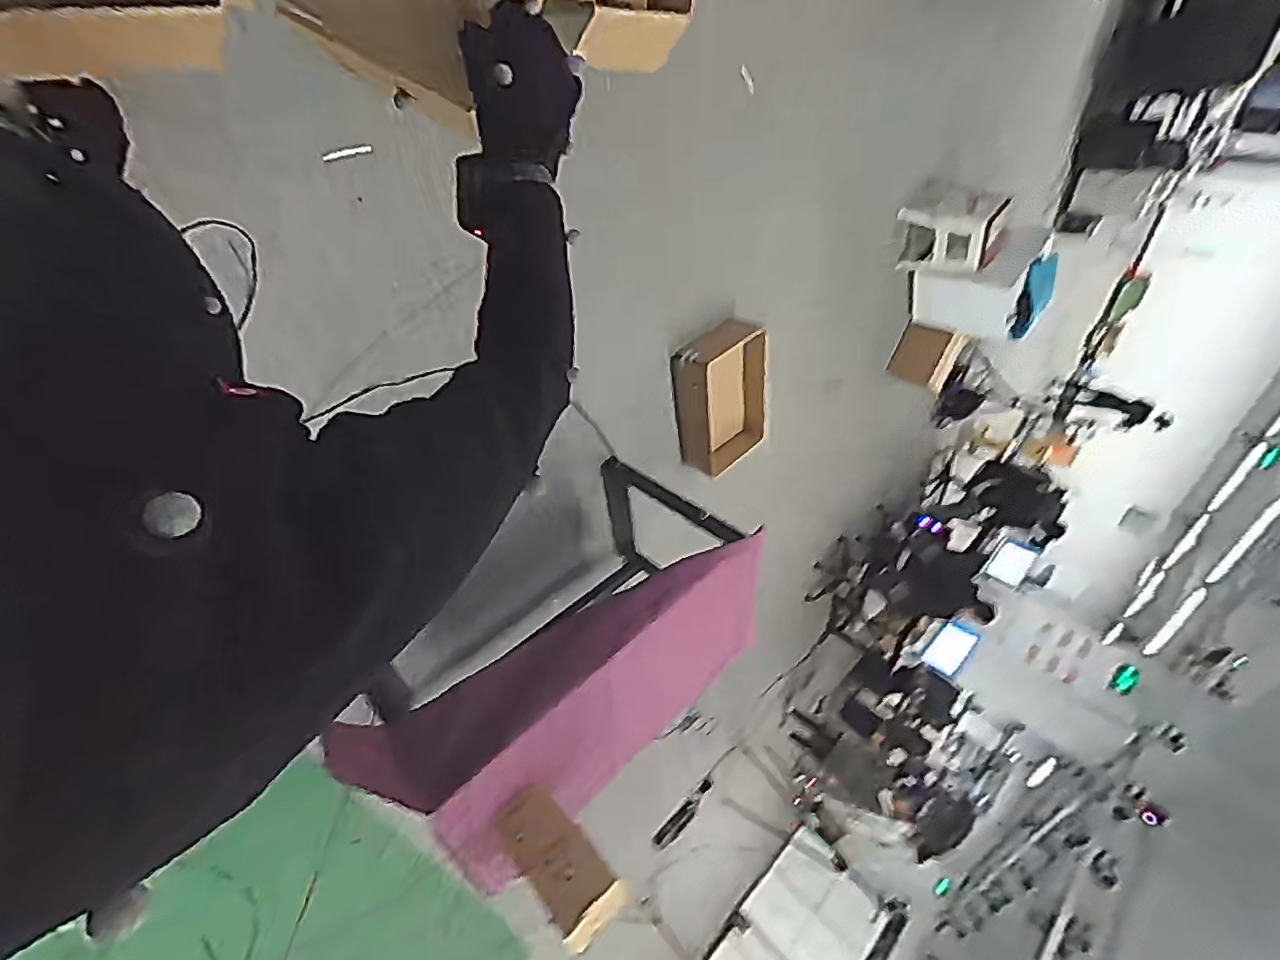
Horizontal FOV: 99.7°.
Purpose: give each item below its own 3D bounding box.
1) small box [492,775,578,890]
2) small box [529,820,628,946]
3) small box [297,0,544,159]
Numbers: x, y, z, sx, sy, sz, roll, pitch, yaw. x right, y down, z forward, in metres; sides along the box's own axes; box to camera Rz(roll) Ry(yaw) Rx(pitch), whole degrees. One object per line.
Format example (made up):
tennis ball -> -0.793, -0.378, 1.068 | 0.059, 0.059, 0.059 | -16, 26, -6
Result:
small box -> -0.270, 0.932, 1.445 | 0.168, 0.176, 0.179 | -34, 137, -29
small box -> -0.154, 0.996, 1.348 | 0.168, 0.176, 0.179 | -34, 135, -28
small box -> -0.203, -0.456, 0.521 | 0.176, 0.168, 0.179 | 20, 105, -15
